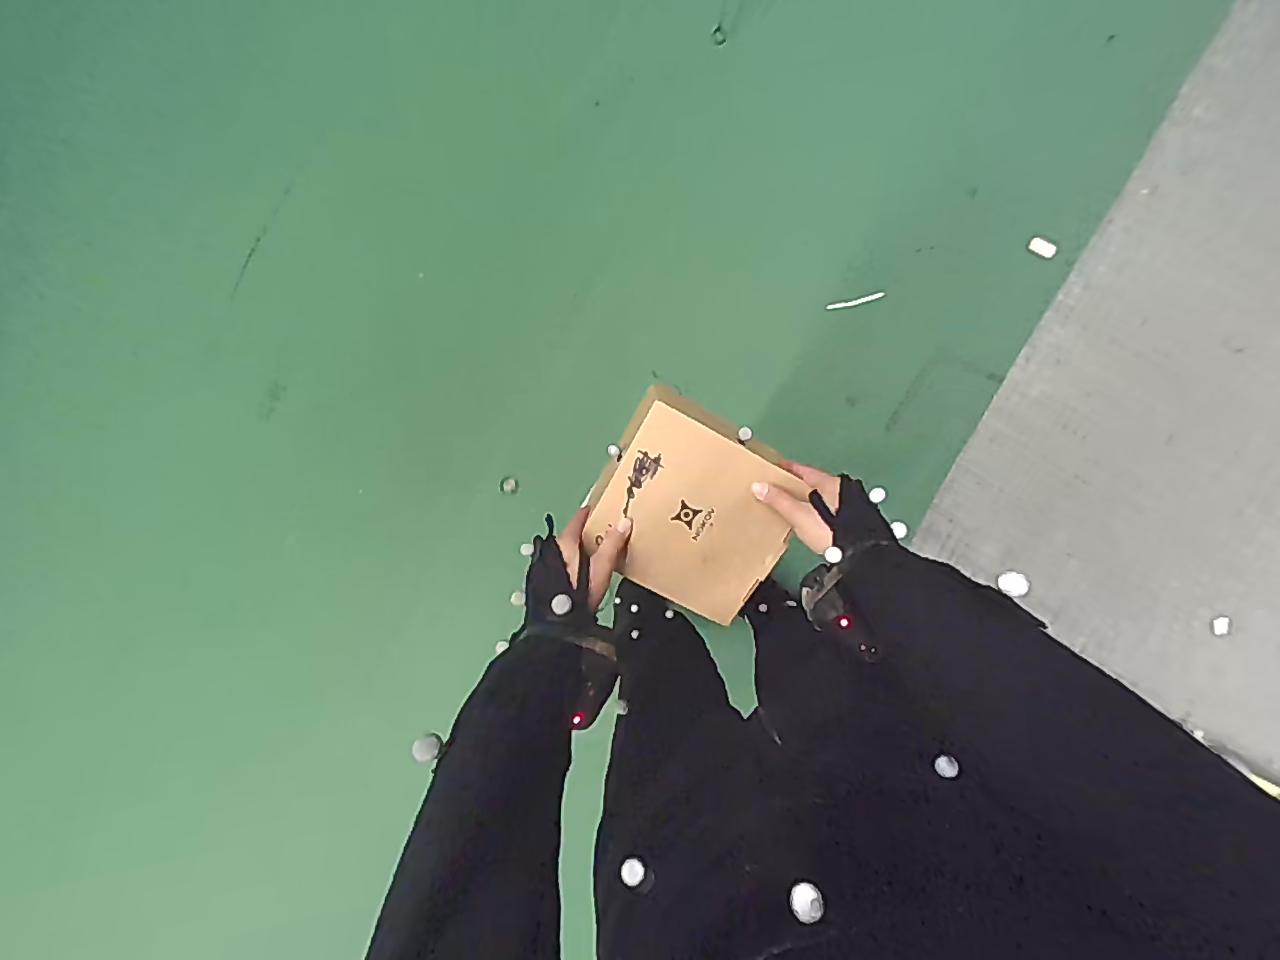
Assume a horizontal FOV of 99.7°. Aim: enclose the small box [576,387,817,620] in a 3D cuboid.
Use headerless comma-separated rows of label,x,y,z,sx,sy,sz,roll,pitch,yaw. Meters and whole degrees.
small box,0.052,0.012,0.587,0.179,0.176,0.168,29,103,-8
